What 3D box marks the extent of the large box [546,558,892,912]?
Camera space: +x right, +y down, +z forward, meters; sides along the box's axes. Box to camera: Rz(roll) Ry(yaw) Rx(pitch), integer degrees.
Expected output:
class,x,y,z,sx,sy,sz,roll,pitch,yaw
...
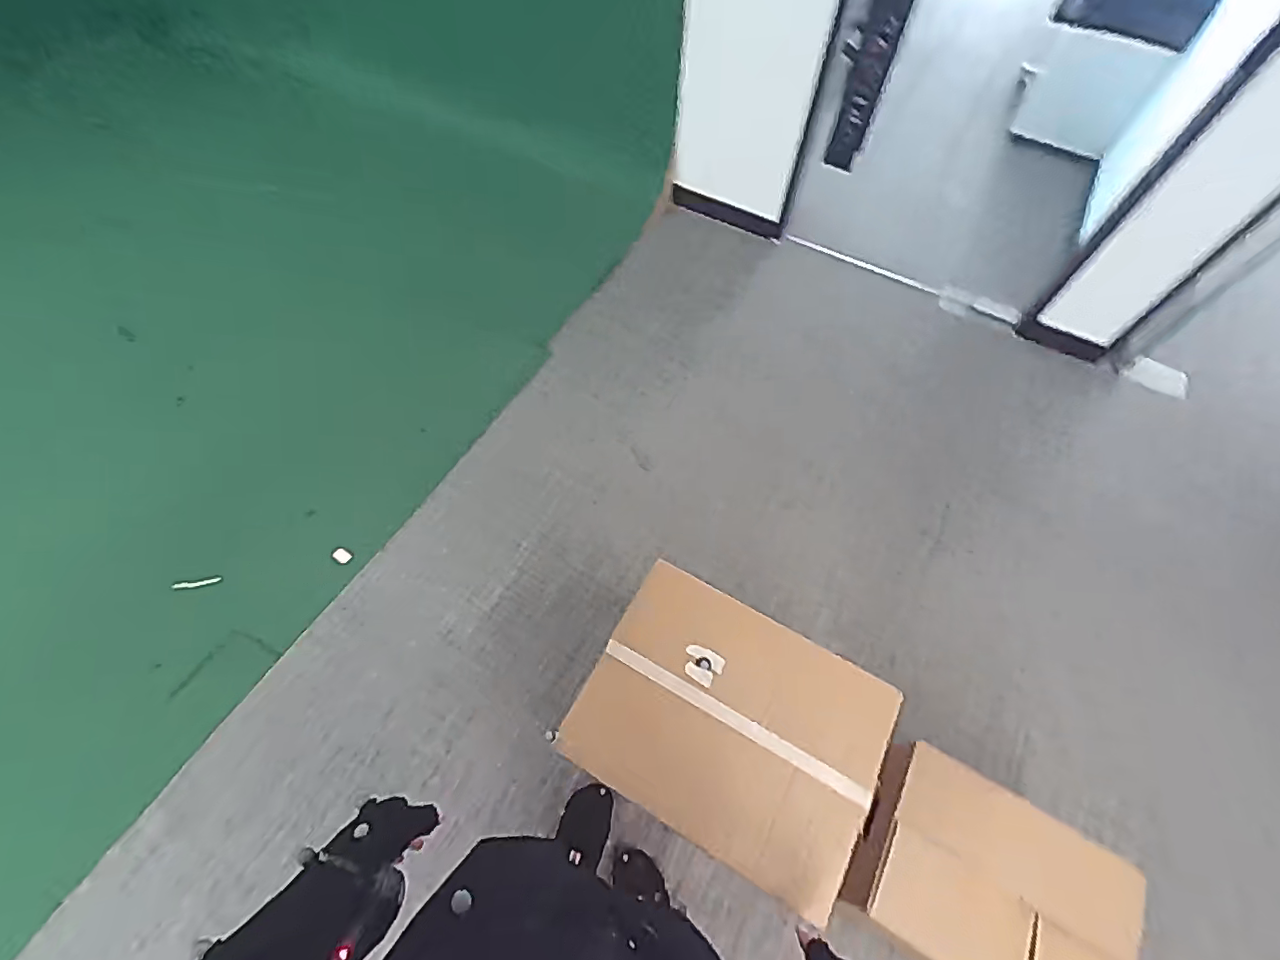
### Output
class,x,y,z,sx,sy,sz,roll,pitch,yaw
large box,0.120,0.390,0.891,0.408,0.320,0.320,27,67,14
